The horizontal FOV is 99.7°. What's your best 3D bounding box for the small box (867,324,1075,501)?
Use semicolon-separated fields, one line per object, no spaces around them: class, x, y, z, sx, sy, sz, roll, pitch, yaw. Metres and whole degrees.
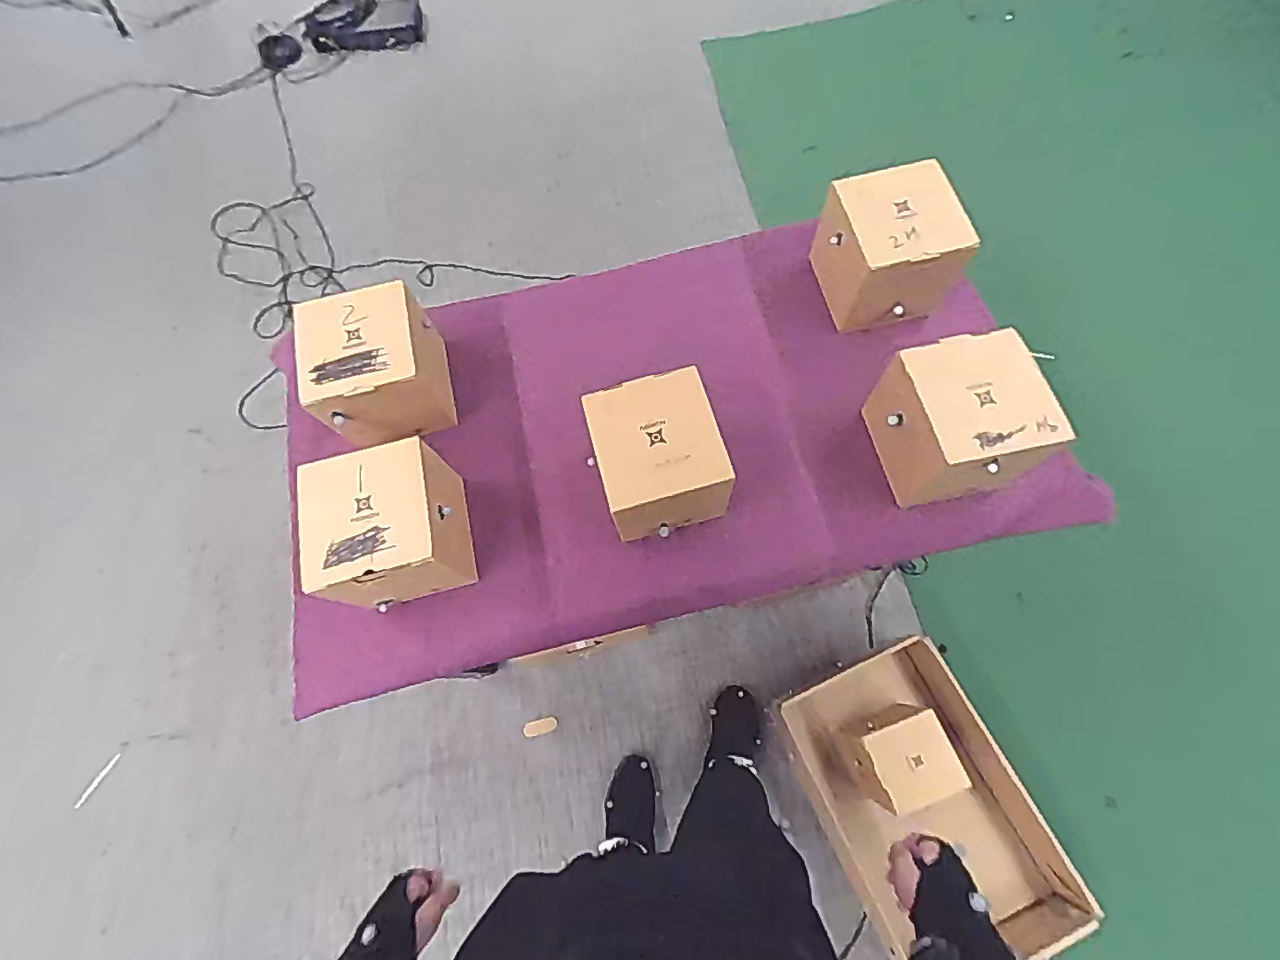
small box;0.451;-0.090;0.776;0.168;0.176;0.179;-12;67;1

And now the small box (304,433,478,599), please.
small box;-0.343;0.062;0.767;0.168;0.176;0.179;-15;68;-3

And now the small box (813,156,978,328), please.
small box;0.400;-0.381;0.885;0.168;0.176;0.179;-13;71;1

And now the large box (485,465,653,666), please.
large box;-0.172;0.233;1.402;0.320;0.320;0.408;-15;69;-3

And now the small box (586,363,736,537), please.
small box;0.028;-0.036;0.784;0.168;0.176;0.179;-15;69;-1
